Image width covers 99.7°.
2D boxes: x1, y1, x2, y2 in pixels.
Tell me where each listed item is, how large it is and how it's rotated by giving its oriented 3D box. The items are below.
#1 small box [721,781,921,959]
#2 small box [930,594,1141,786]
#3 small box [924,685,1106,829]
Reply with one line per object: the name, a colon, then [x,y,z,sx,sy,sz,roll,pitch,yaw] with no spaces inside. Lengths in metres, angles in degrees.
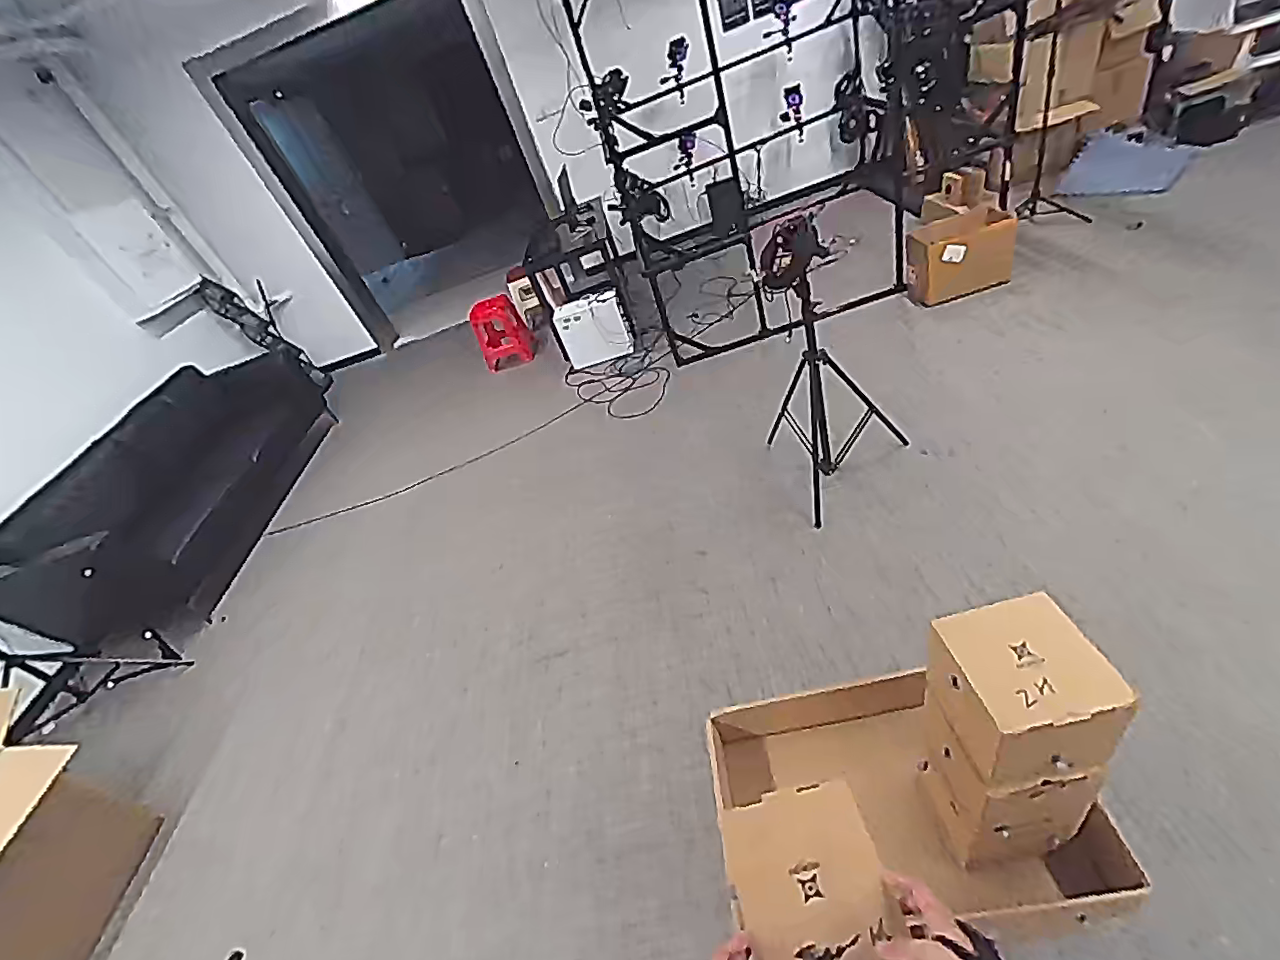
small box: [0.206,0.504,0.658,0.168,0.176,0.179,-16,44,0]
small box: [0.533,0.296,0.764,0.168,0.176,0.179,-17,39,6]
small box: [0.574,0.426,0.856,0.168,0.176,0.179,-17,38,6]
